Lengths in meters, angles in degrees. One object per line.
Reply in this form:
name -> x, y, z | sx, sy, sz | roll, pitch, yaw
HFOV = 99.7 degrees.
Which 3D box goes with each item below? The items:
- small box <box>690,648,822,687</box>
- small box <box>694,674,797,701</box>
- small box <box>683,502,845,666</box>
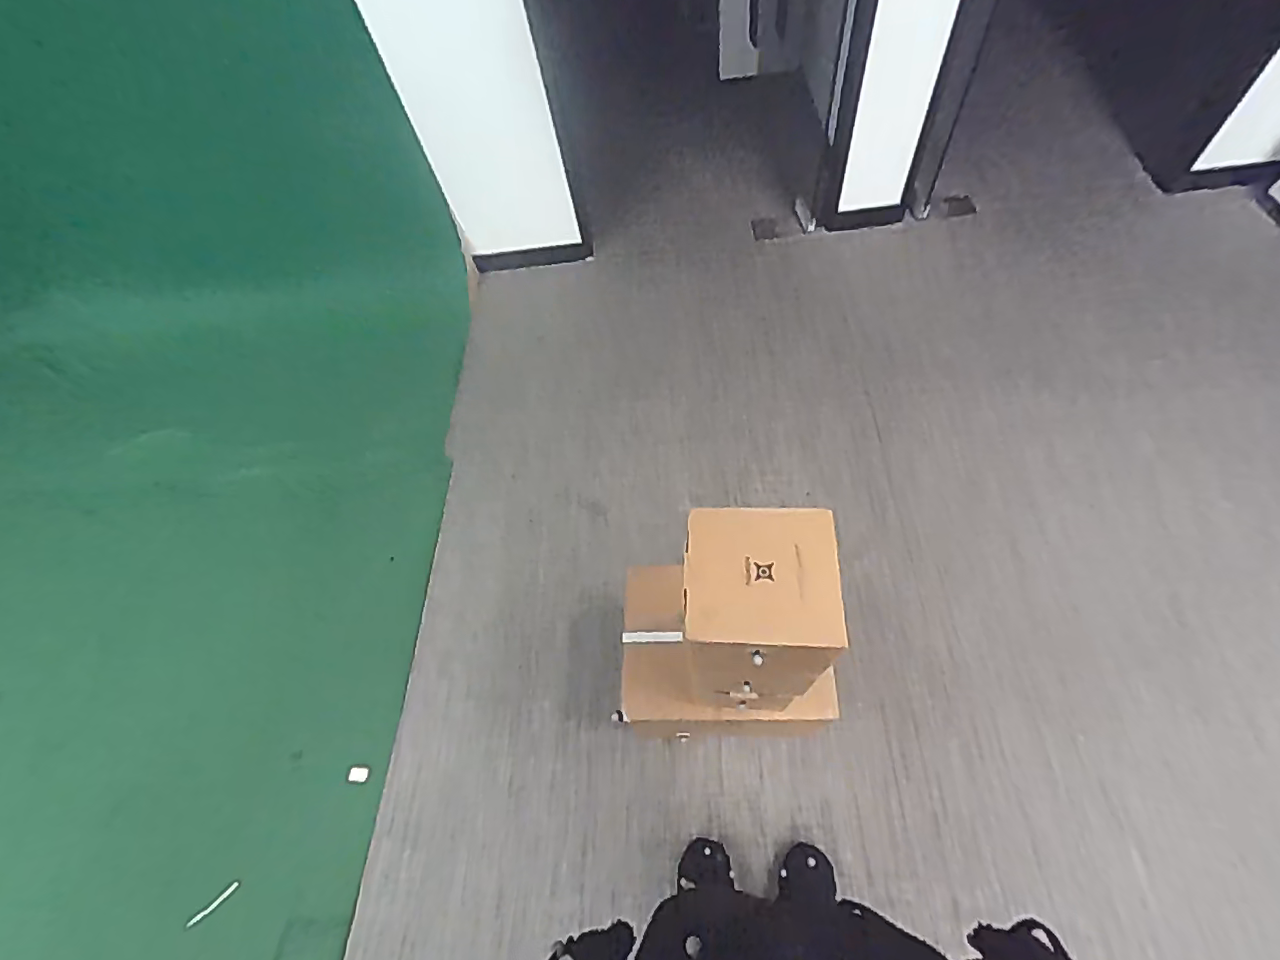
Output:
small box -> 0.171, 0.218, 0.831 | 0.179, 0.176, 0.168 | -2, 60, 10
small box -> 0.188, 0.296, 0.975 | 0.168, 0.176, 0.179 | -1, 61, 9
small box -> 0.149, 0.138, 0.692 | 0.179, 0.176, 0.168 | -1, 62, 8
